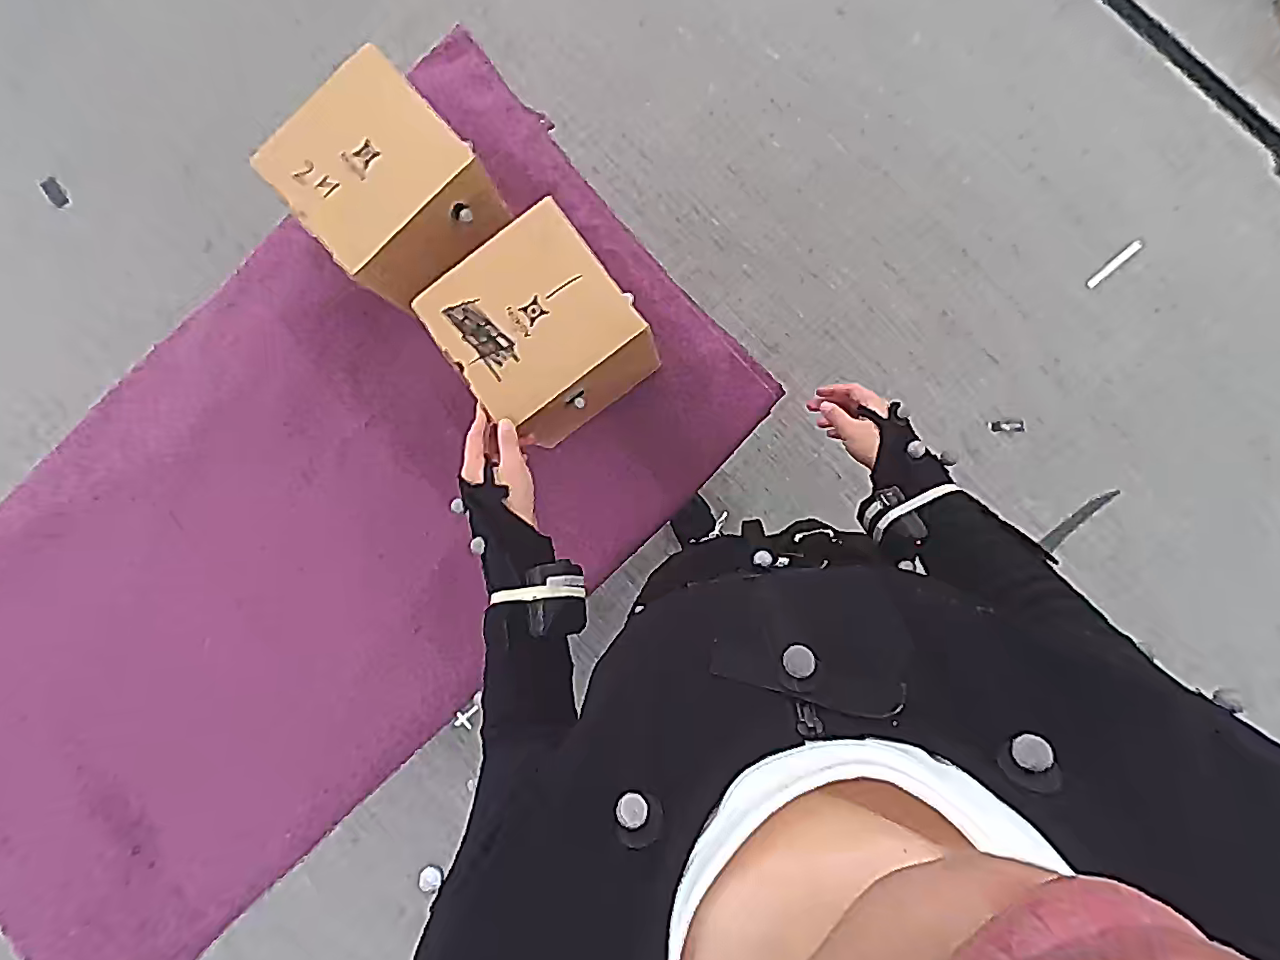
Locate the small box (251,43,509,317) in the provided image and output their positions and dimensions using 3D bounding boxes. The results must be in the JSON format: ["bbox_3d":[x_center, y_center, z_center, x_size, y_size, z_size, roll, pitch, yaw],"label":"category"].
[{"bbox_3d":[-0.272,-0.320,0.617,0.179,0.176,0.168,-42,87,4],"label":"small box"}]

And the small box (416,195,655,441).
[{"bbox_3d":[-0.099,-0.159,0.600,0.179,0.176,0.168,-37,85,4],"label":"small box"}]
